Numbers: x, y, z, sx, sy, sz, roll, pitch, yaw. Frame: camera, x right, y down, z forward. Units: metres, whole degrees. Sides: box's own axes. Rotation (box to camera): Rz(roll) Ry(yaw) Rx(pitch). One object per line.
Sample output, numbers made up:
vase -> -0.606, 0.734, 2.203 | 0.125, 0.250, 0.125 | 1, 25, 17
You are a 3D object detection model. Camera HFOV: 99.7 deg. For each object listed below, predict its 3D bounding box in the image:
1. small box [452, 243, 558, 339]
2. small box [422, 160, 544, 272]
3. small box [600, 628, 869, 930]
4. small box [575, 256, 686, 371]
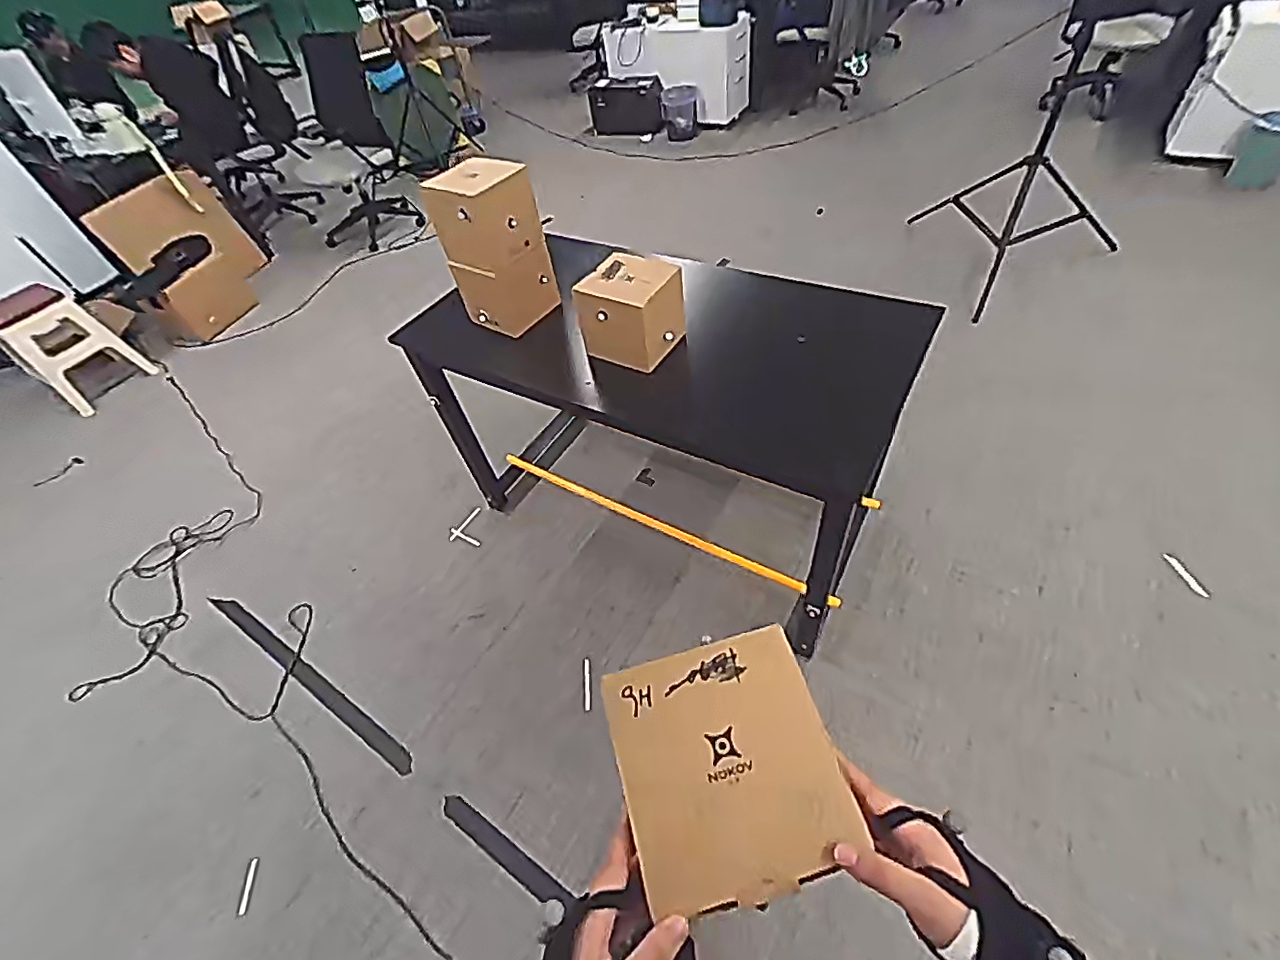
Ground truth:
small box -> -0.323, -0.479, 1.337 | 0.168, 0.176, 0.179 | 24, 58, 27
small box -> -0.344, -0.592, 1.218 | 0.179, 0.176, 0.168 | 24, 57, 27
small box -> 0.072, 0.259, 0.488 | 0.168, 0.176, 0.179 | -16, 58, -4
small box -> -0.014, -0.364, 1.188 | 0.179, 0.176, 0.168 | 23, 57, 24
